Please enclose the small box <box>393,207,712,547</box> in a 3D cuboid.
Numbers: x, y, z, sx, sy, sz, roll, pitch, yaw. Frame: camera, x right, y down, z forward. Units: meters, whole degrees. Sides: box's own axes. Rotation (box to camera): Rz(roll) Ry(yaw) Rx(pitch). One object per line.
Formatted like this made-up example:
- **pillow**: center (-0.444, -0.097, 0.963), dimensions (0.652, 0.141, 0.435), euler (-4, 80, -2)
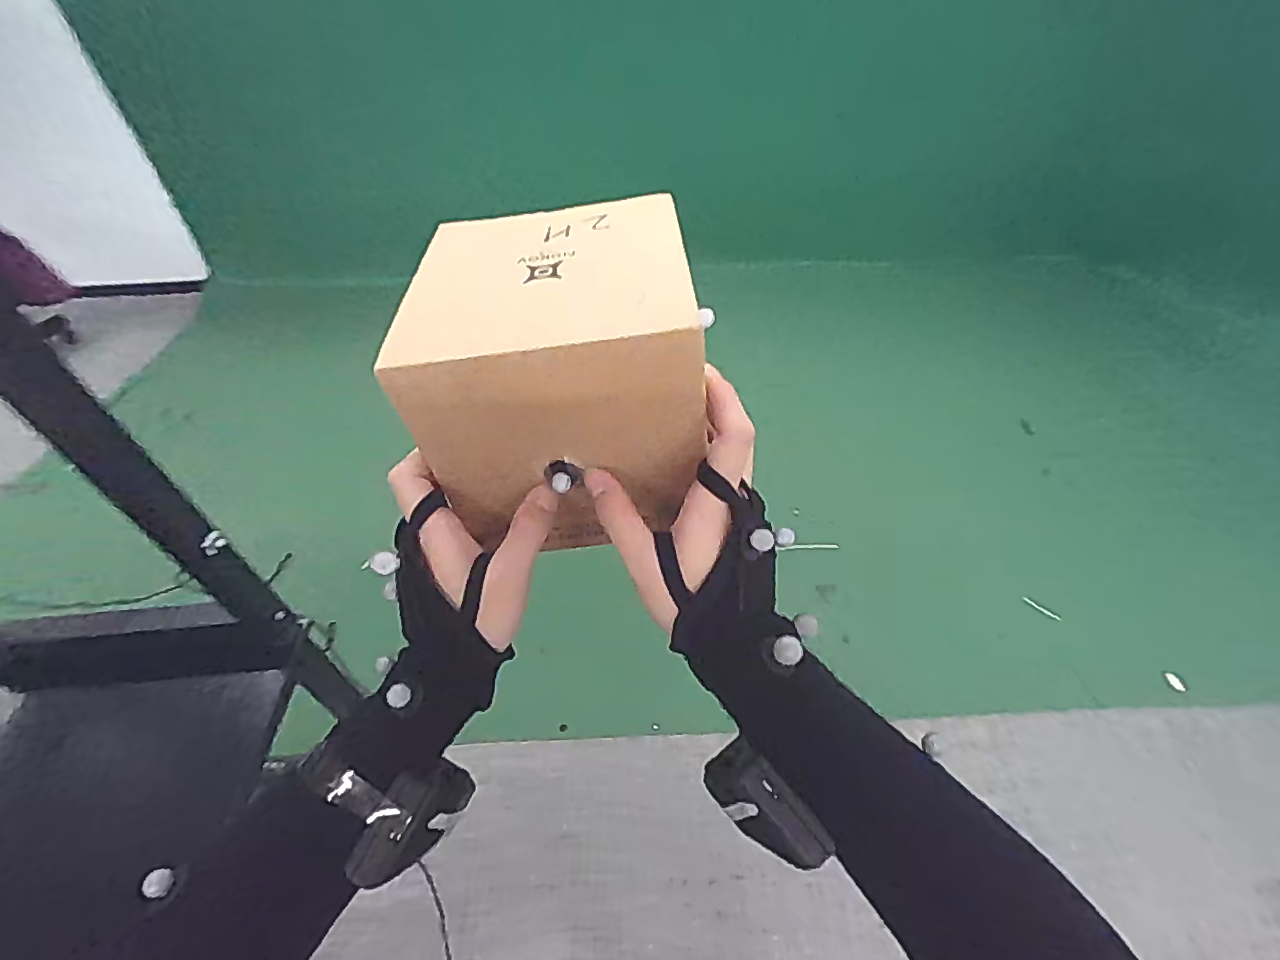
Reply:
- **small box**: center (-0.039, -0.065, 0.384), dimensions (0.168, 0.176, 0.179), euler (-5, 47, 4)
